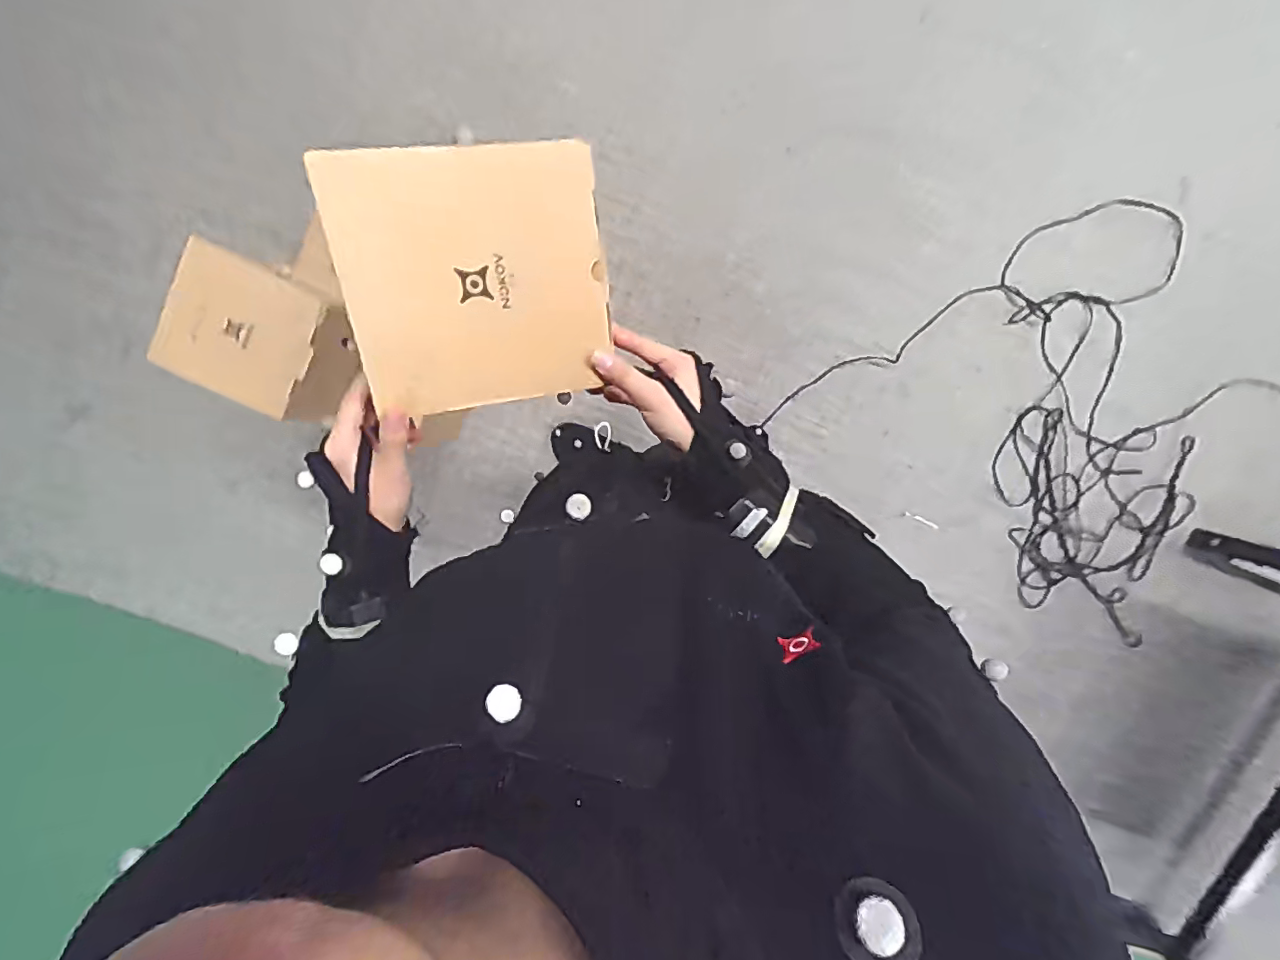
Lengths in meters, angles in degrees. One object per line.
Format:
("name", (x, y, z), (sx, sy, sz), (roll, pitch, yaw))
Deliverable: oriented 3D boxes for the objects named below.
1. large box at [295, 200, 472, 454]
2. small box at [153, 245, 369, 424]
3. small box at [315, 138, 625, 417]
("large box", (-0.500, -0.308, 1.143), (0.320, 0.320, 0.408), (25, 98, -7))
("small box", (-0.498, -0.191, 0.750), (0.179, 0.176, 0.168), (25, 97, -5))
("small box", (-0.124, -0.158, 0.436), (0.179, 0.176, 0.168), (-12, 112, -14))
